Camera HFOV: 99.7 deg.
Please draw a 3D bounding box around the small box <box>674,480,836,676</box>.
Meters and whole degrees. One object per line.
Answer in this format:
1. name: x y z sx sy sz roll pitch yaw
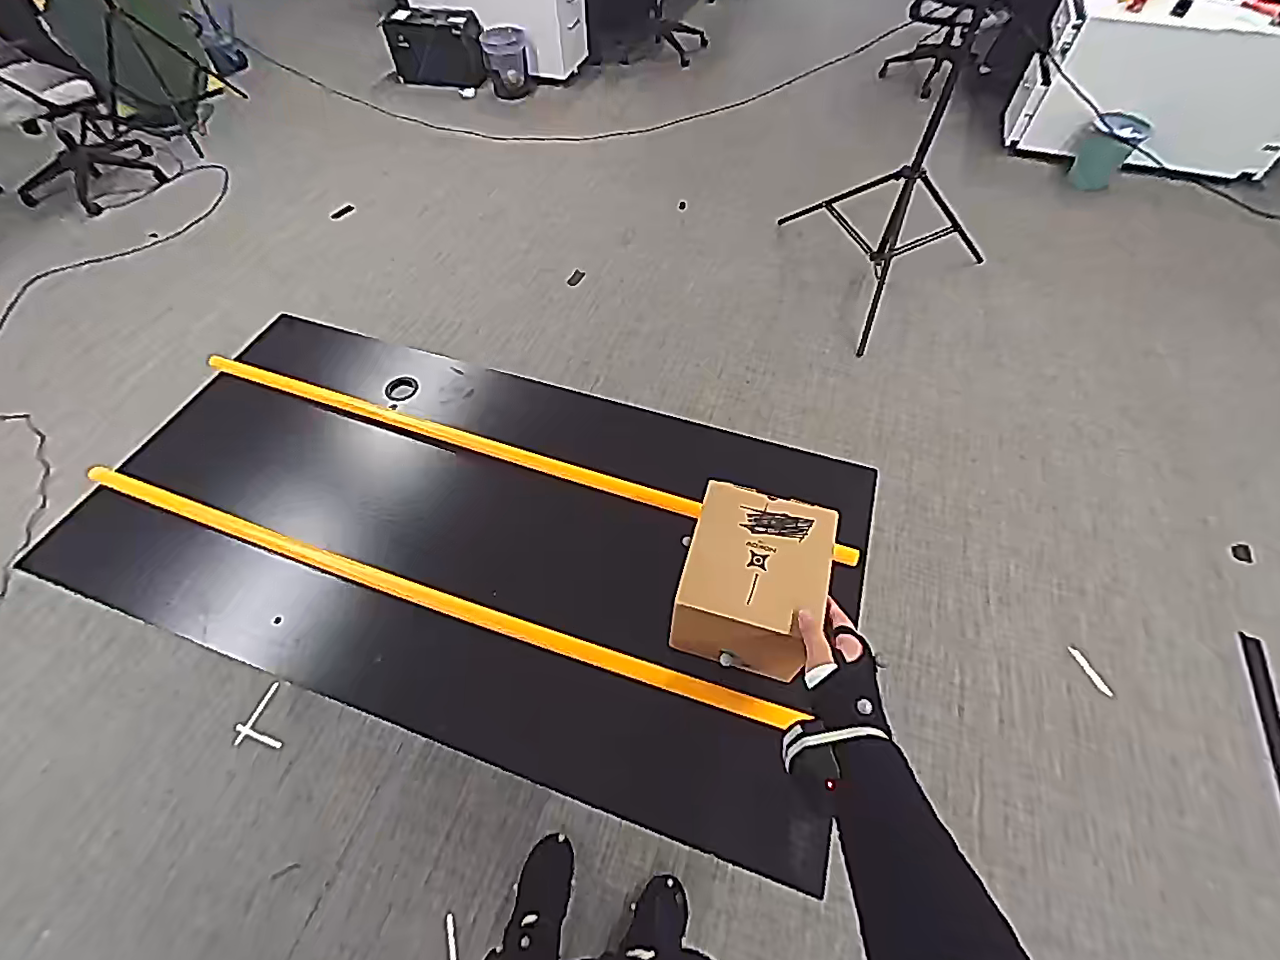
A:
1. small box: 0.143 0.132 0.712 0.168 0.176 0.179 14 58 10
